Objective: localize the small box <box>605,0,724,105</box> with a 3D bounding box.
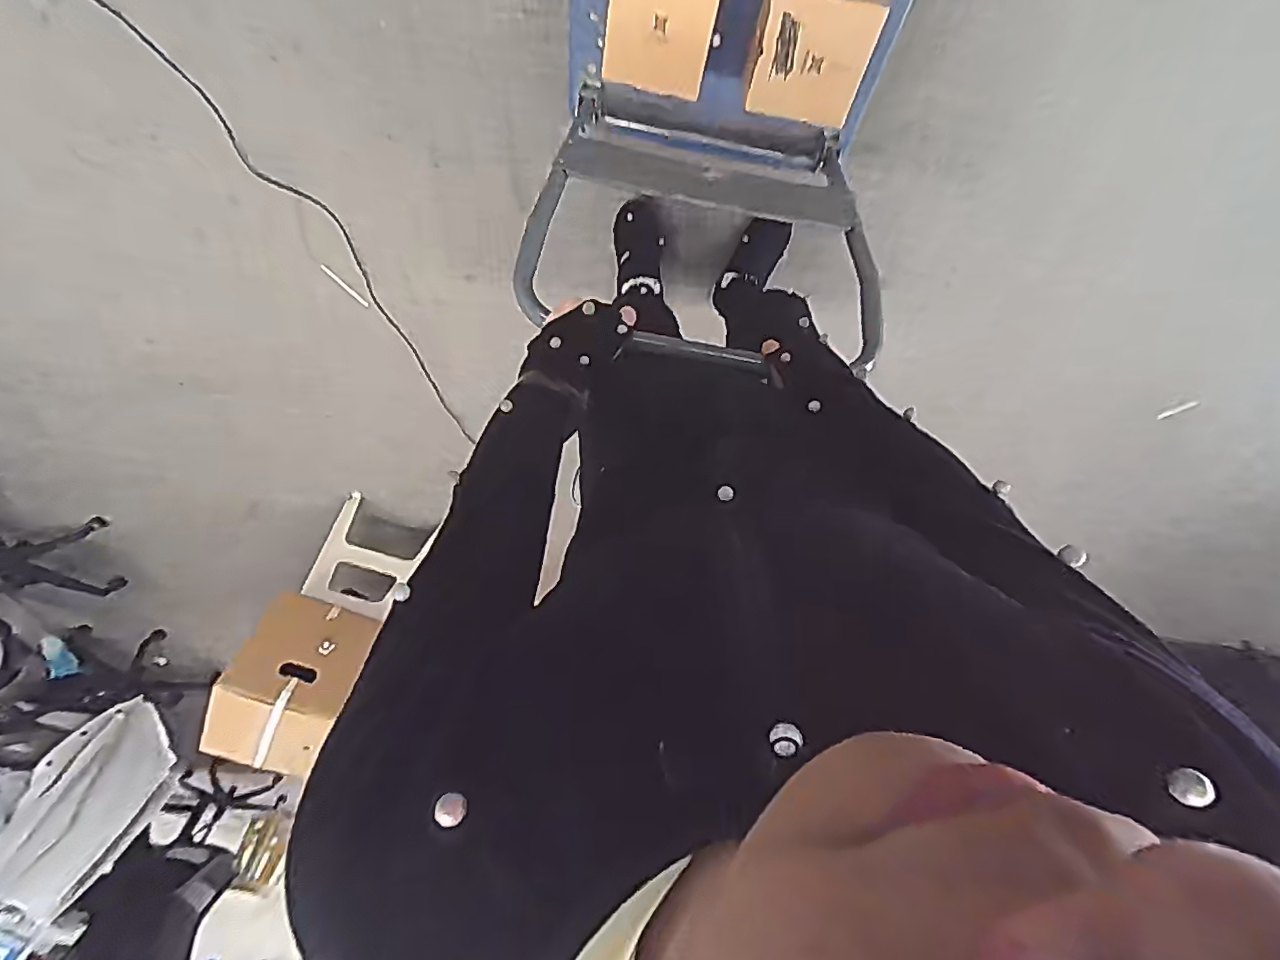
[{"bbox_3d":[0.043,-0.765,0.886,0.168,0.176,0.179,11,146,-5],"label":"small box"}]
